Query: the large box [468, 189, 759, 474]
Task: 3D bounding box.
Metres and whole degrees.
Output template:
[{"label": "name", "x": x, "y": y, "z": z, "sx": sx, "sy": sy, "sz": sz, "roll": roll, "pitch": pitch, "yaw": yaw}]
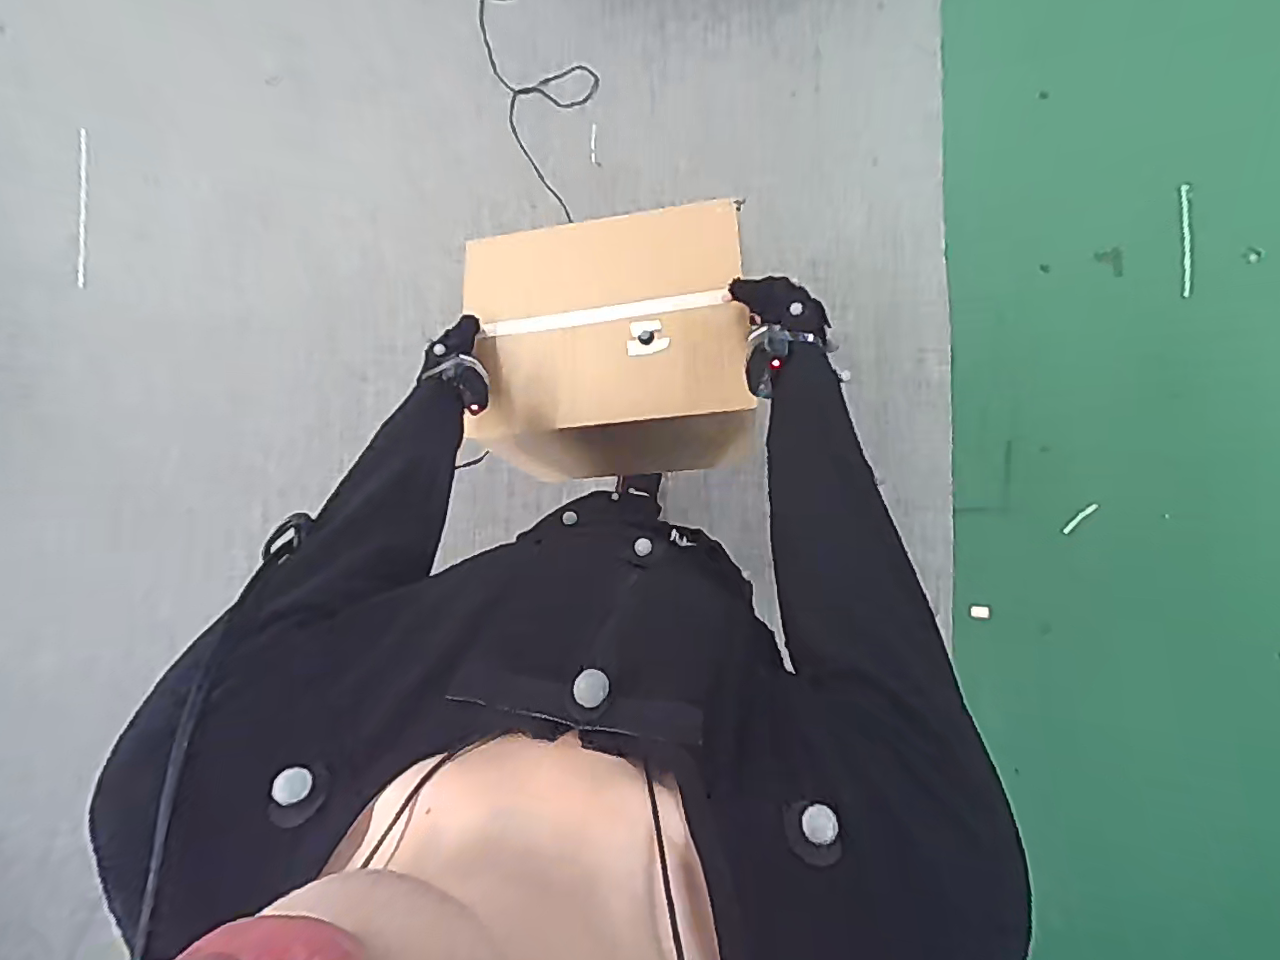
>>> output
[{"label": "large box", "x": -0.030, "y": -0.209, "z": 0.895, "sx": 0.408, "sy": 0.320, "sz": 0.320, "roll": -5, "pitch": 78, "yaw": 8}]
